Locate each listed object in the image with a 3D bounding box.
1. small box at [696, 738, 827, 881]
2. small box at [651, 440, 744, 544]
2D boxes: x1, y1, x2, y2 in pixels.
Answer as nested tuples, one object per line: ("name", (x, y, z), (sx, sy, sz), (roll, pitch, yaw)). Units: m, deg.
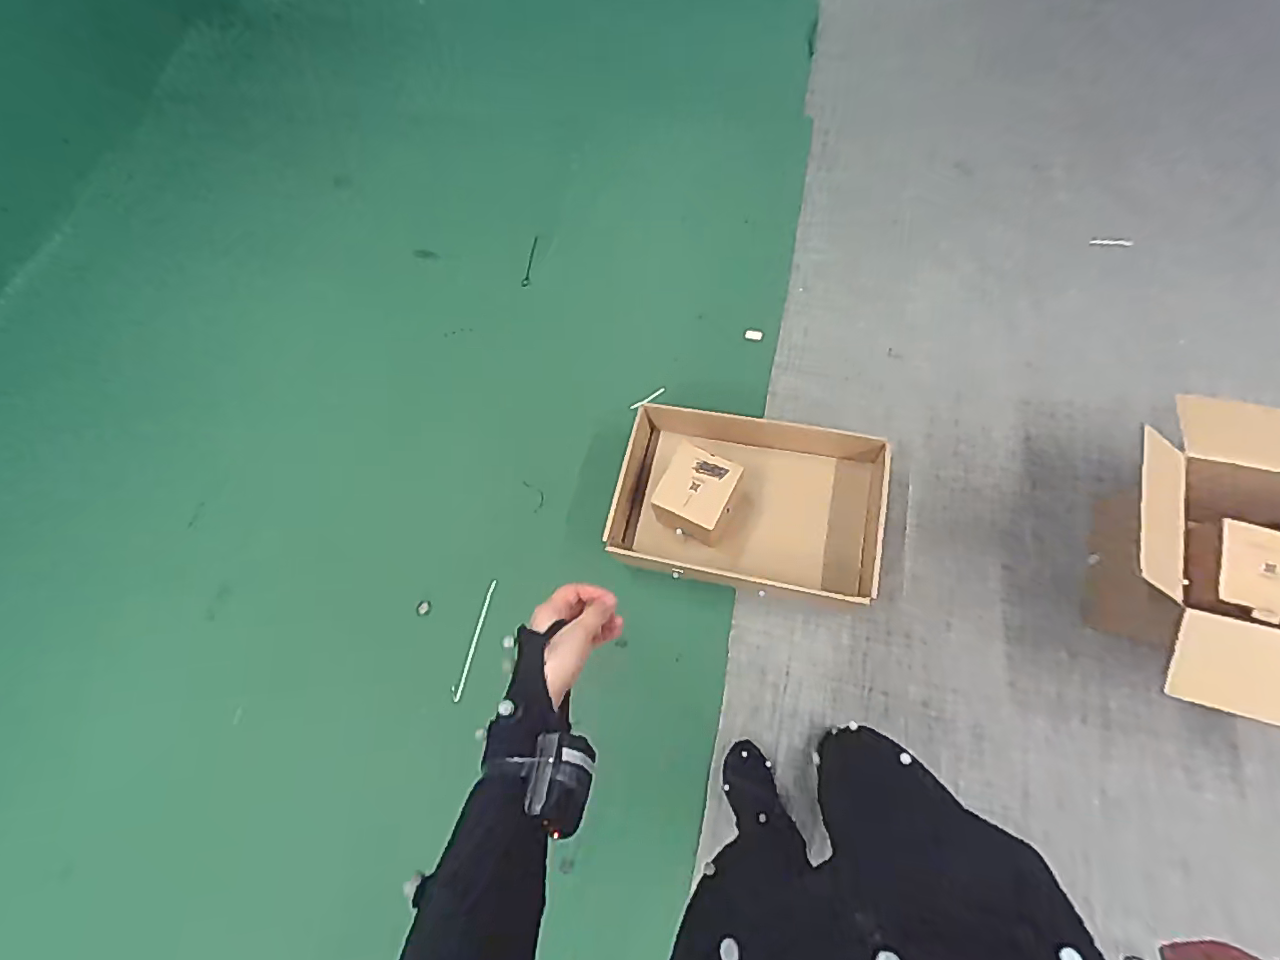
("small box", (0.256, 0.672, 1.119), (0.176, 0.168, 0.179), (48, 55, -6))
("small box", (0.144, 0.034, 1.344), (0.168, 0.176, 0.179), (25, 75, 16))
